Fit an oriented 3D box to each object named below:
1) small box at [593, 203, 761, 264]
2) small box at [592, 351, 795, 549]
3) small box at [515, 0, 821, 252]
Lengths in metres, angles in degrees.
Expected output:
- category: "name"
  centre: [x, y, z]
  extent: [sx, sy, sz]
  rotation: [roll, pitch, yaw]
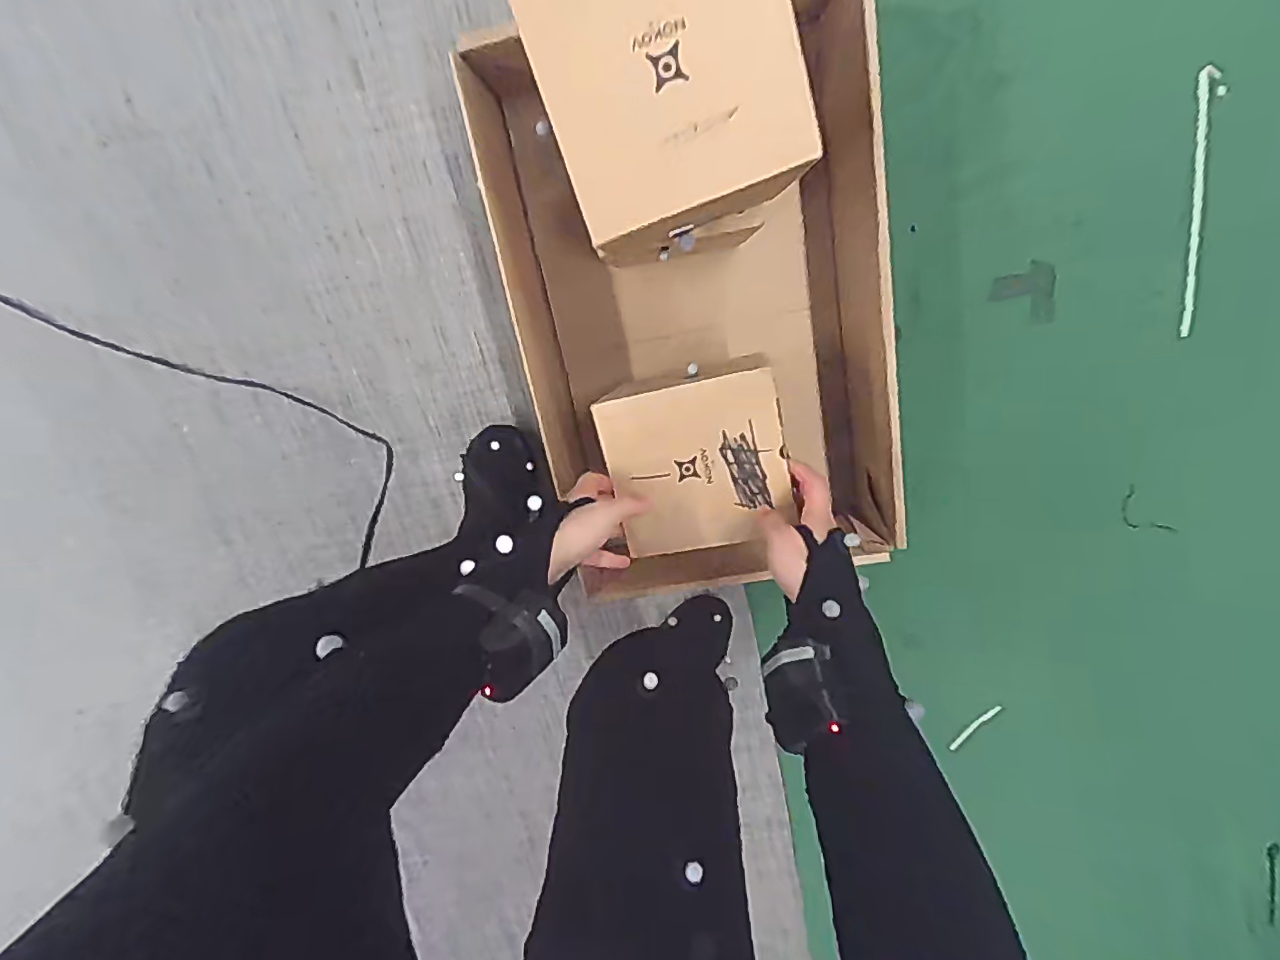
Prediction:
- category: "small box"
  centre: [0.027, -0.341, 0.576]
  extent: [0.168, 0.176, 0.179]
  rotation: [-8, 107, 5]
- category: "small box"
  centre: [0.064, -0.041, 0.600]
  extent: [0.179, 0.176, 0.168]
  rotation: [-9, 106, 13]
- category: "small box"
  centre: [0.020, -0.294, 0.419]
  extent: [0.168, 0.176, 0.179]
  rotation: [-17, 109, 9]
